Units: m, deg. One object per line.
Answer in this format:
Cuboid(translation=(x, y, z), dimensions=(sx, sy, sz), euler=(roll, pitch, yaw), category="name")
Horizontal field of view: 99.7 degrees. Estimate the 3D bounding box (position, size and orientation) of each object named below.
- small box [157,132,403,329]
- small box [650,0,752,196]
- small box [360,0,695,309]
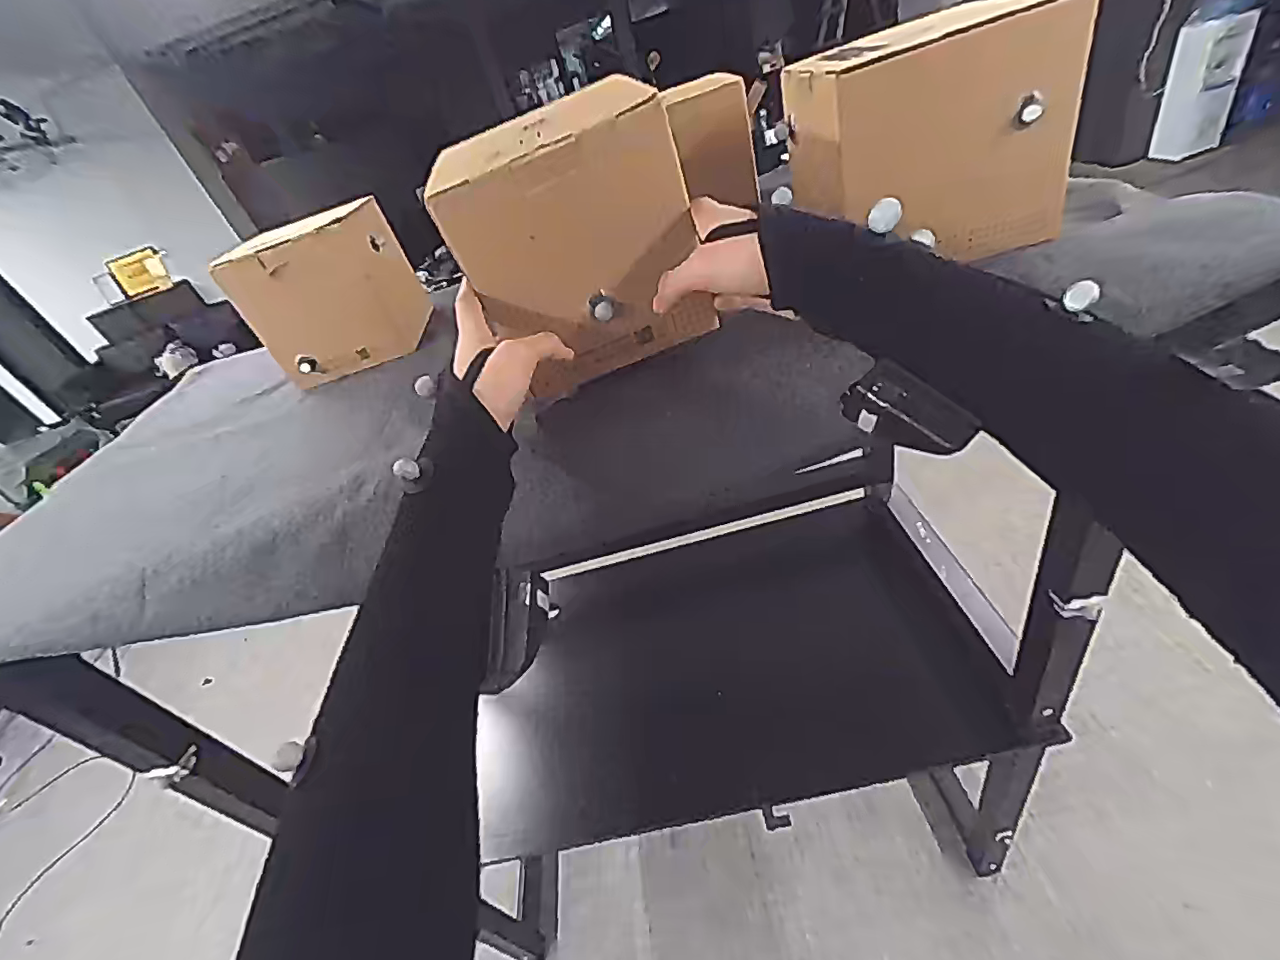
Cuboid(translation=(-0.426, -0.309, 0.681), dimensions=(0.168, 0.176, 0.179), euler=(-18, 38, 2), category="small box")
Cuboid(translation=(0.026, -0.440, 0.644), dimensions=(0.168, 0.176, 0.179), euler=(-16, 38, 6), category="small box")
Cuboid(translation=(-0.071, -0.258, 0.410), dimensions=(0.168, 0.176, 0.179), euler=(-21, 42, 4), category="small box")
